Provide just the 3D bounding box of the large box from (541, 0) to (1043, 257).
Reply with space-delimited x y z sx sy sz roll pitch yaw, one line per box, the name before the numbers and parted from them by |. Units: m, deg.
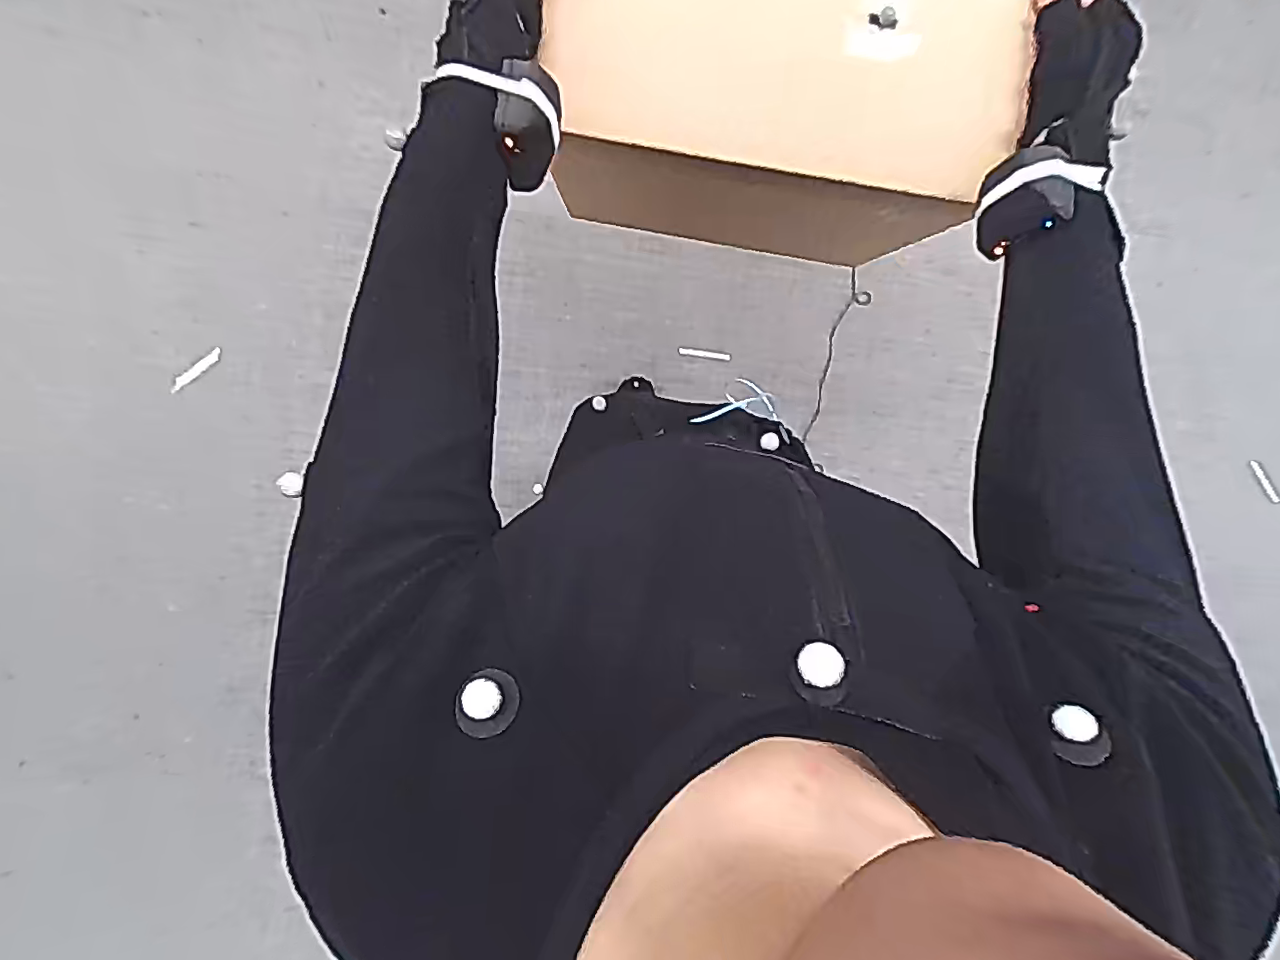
large box | 0.127 -0.451 0.573 0.408 0.320 0.320 8 103 -3
